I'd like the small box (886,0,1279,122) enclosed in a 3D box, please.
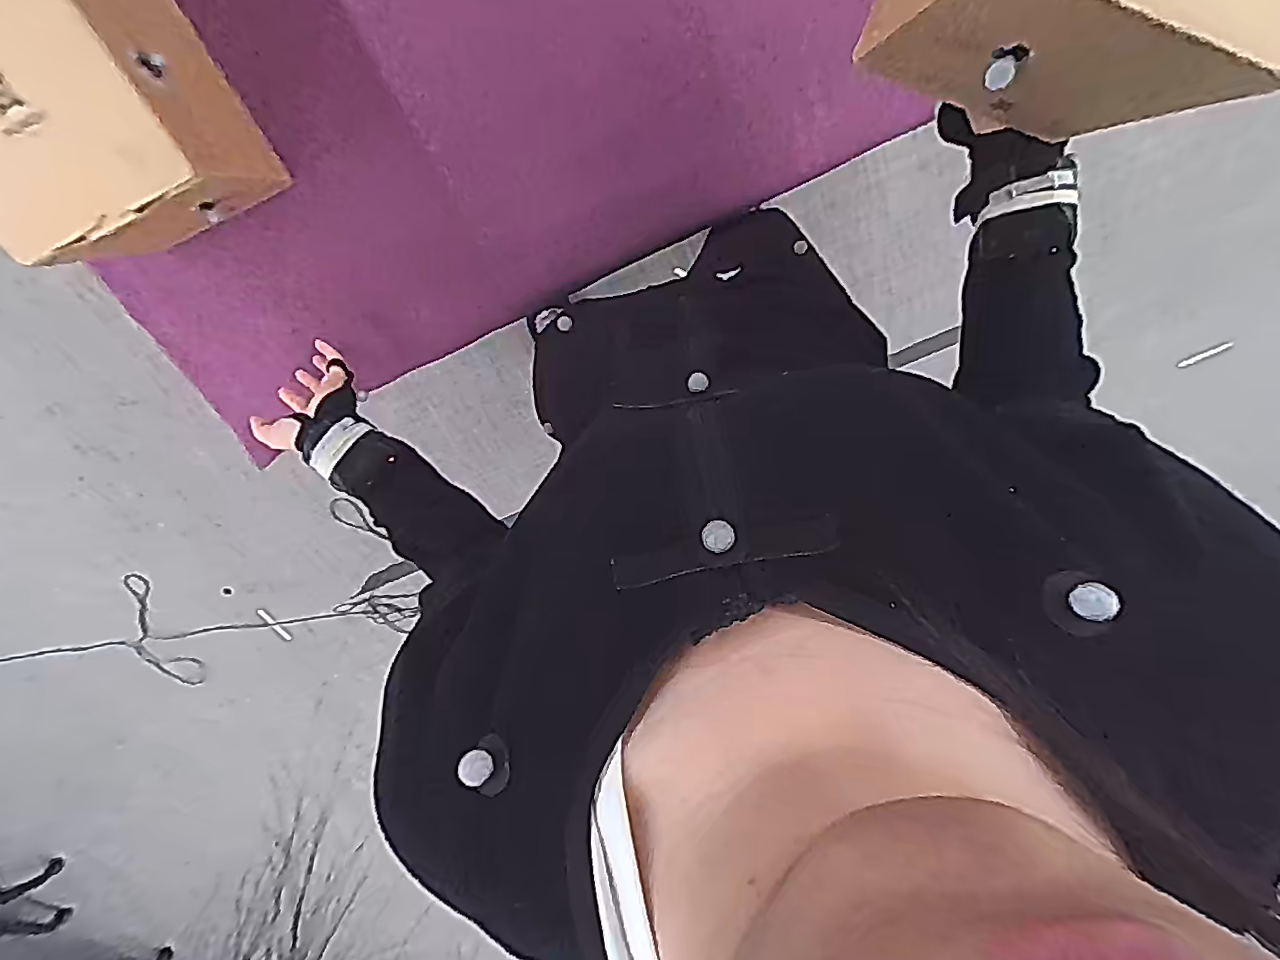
[{"bbox_3d":[0.257,-0.316,0.277,0.168,0.176,0.179,14,112,-7],"label":"small box"}]
